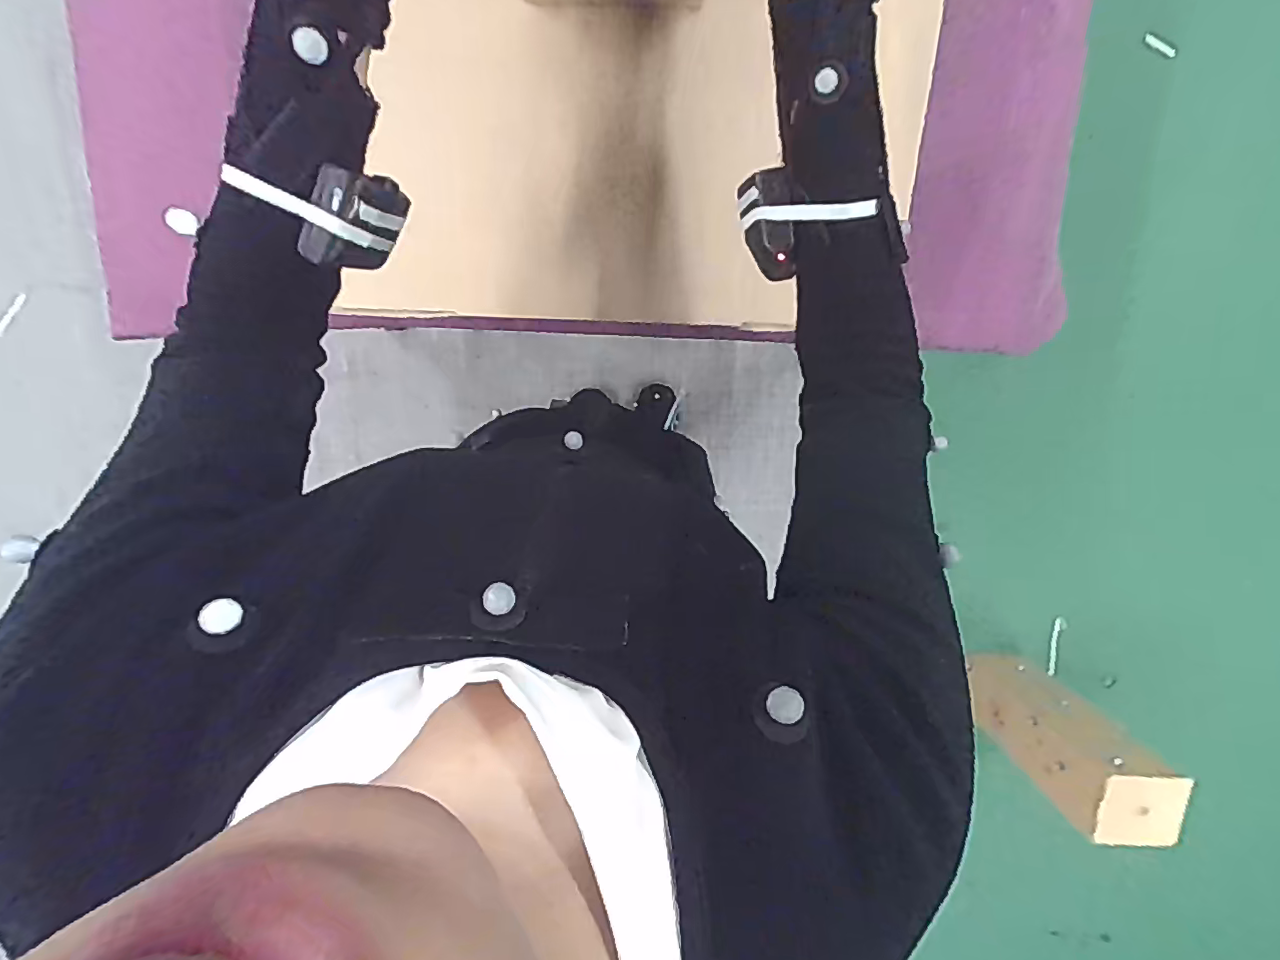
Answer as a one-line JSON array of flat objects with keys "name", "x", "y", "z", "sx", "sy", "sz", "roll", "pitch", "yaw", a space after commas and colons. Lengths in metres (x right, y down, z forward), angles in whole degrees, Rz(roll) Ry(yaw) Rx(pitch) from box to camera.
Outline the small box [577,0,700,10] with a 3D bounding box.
[{"name": "small box", "x": -0.018, "y": -0.497, "z": 0.388, "sx": 0.168, "sy": 0.176, "sz": 0.179, "roll": 3, "pitch": 100, "yaw": 0}]

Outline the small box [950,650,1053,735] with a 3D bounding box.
[{"name": "small box", "x": 1.016, "y": 0.597, "z": 1.535, "sx": 0.179, "sy": 0.176, "sz": 0.168, "roll": 1, "pitch": 101, "yaw": 1}]

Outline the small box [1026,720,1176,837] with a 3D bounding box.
[{"name": "small box", "x": 1.022, "y": 0.663, "z": 1.213, "sx": 0.179, "sy": 0.176, "sz": 0.168, "roll": 2, "pitch": 102, "yaw": -1}]
